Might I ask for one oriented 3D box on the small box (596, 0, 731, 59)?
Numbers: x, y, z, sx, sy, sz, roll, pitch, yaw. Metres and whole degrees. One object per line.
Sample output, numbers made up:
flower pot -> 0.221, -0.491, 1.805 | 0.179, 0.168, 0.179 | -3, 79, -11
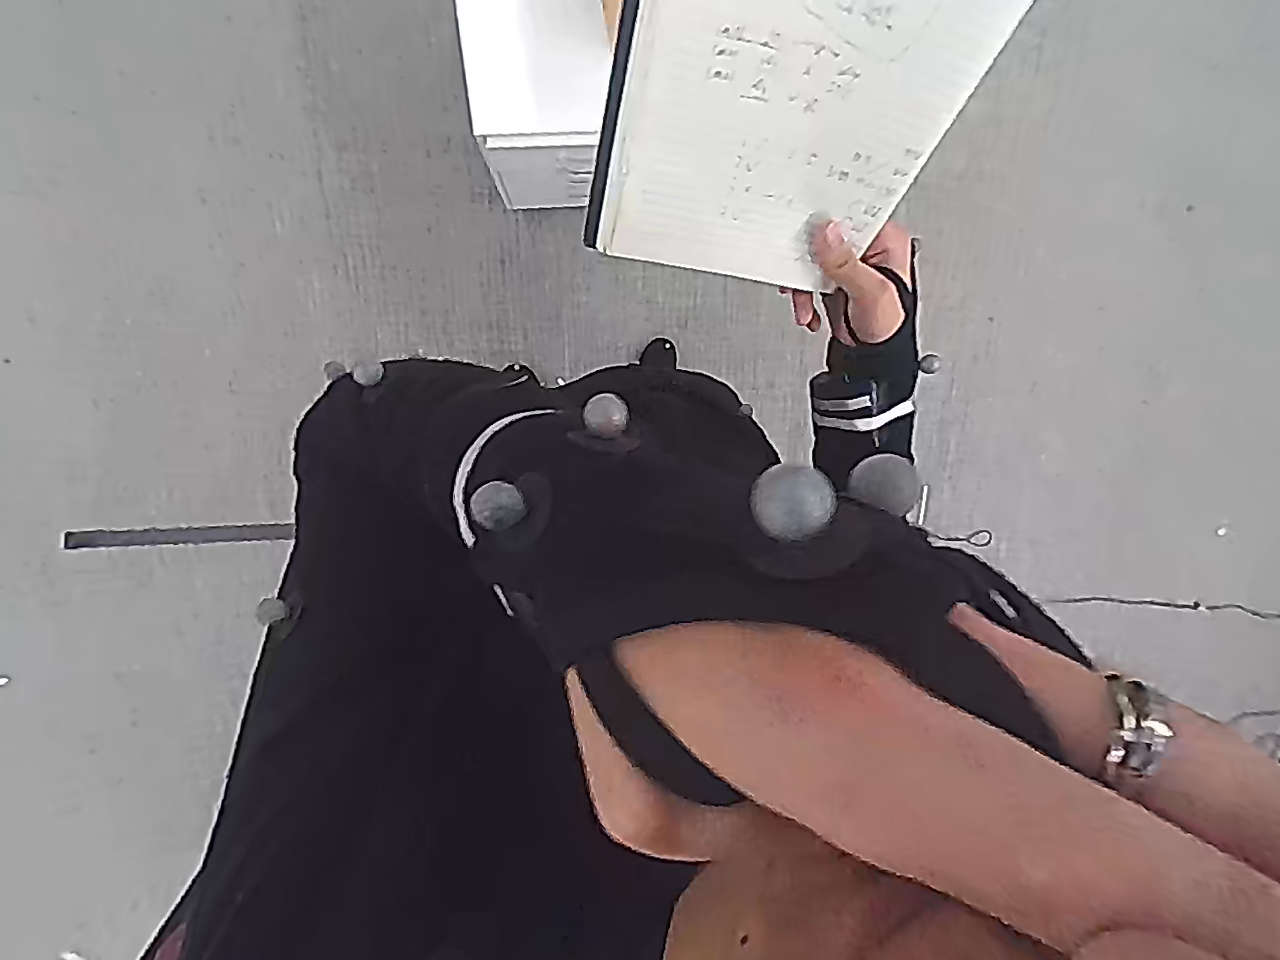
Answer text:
small box -> 0.027, -0.731, 0.753 | 0.179, 0.176, 0.168 | -14, 106, -3
